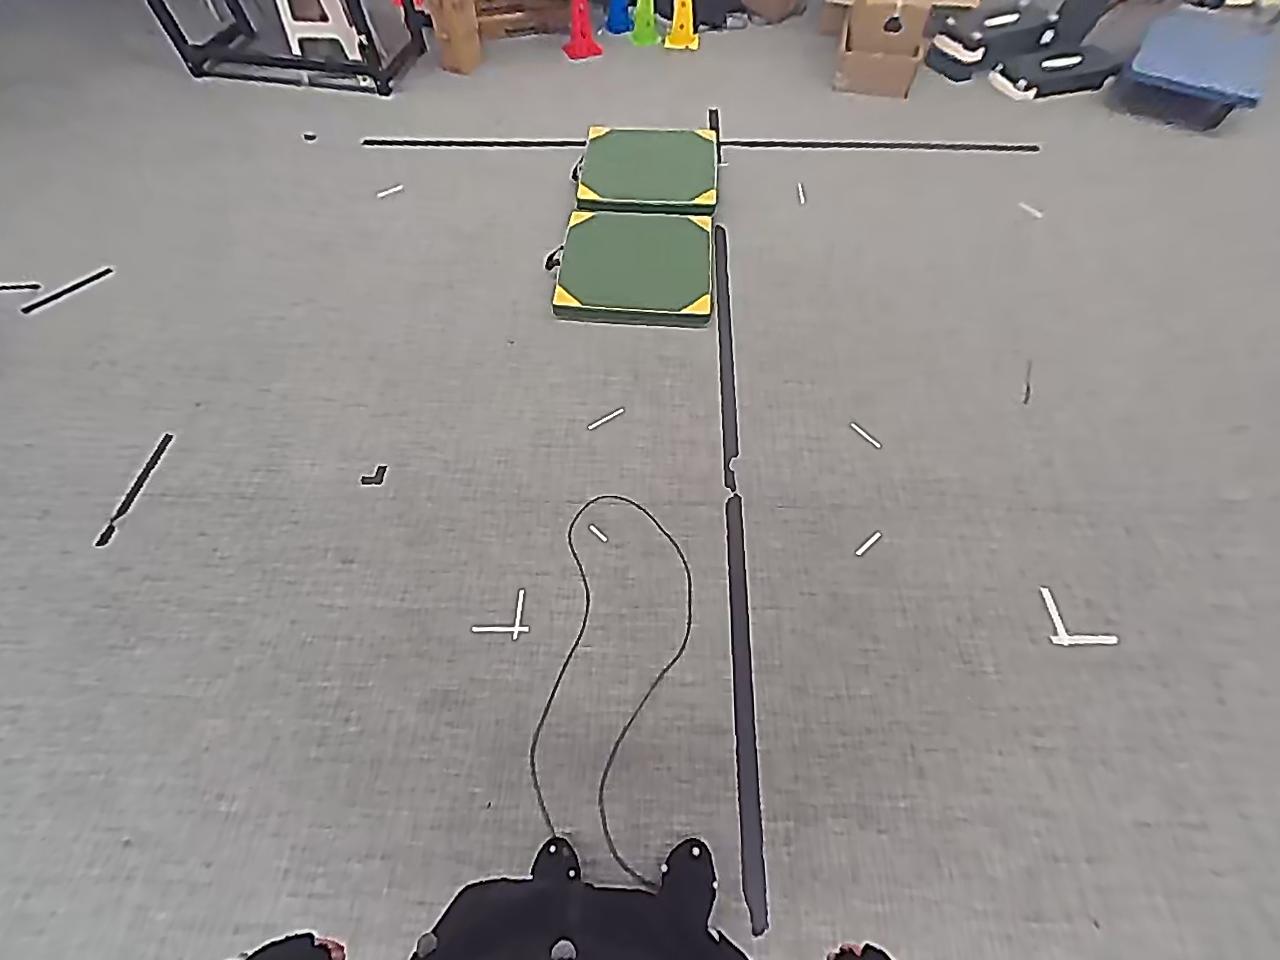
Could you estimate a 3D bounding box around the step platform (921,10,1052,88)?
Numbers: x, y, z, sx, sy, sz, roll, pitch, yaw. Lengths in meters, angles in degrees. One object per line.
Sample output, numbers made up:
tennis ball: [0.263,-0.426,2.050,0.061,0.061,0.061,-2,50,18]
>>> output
step platform: [1.979,-2.469,3.087,0.684,0.204,0.286,-23,62,-13]
